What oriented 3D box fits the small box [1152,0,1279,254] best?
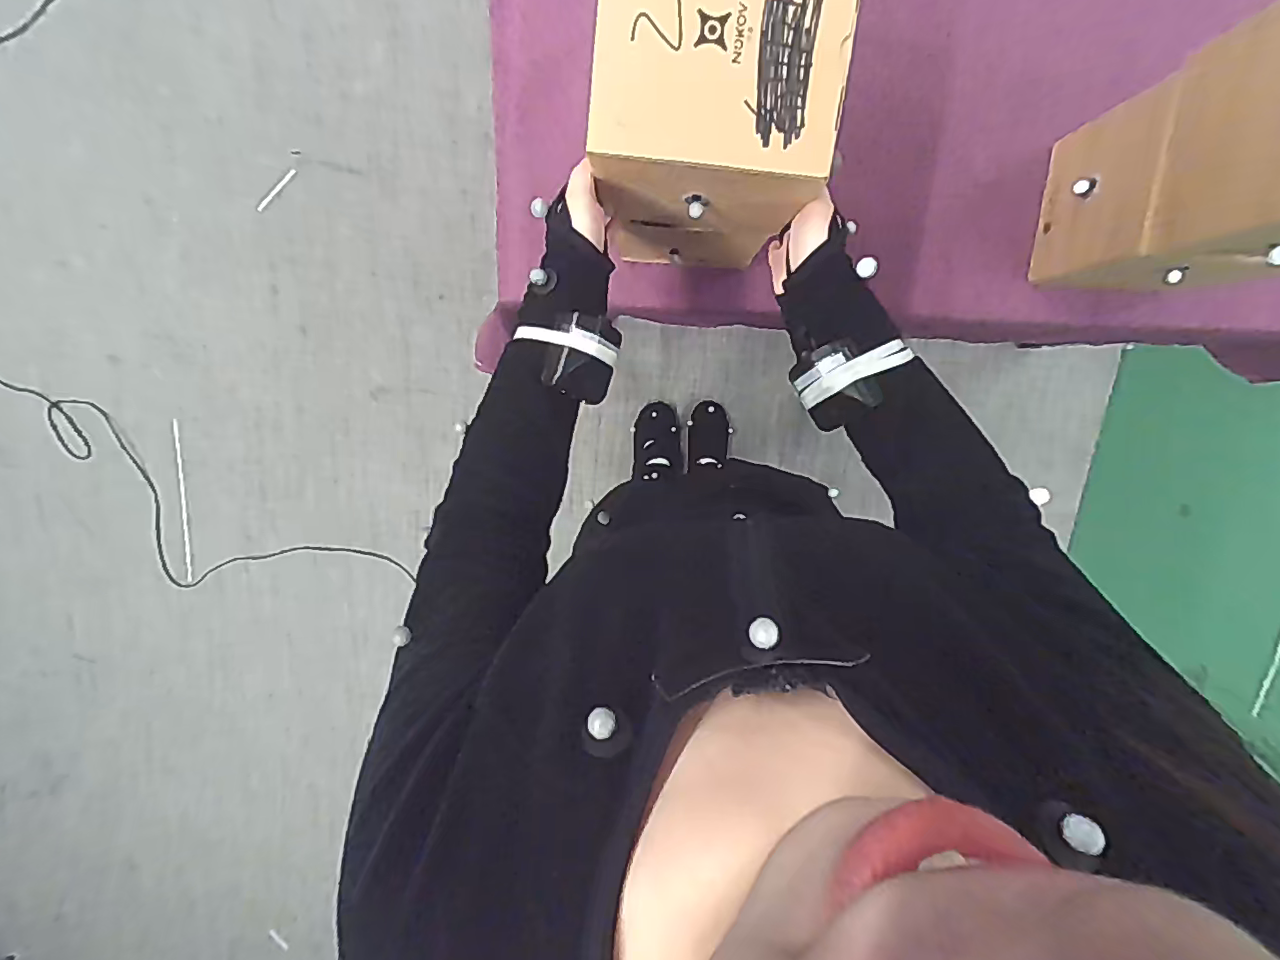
[{"bbox_3d":[0.569,-0.291,0.428,0.168,0.176,0.179,2,101,2],"label":"small box"}]

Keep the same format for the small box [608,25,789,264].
[{"bbox_3d":[0.056,-0.355,0.606,0.168,0.176,0.179,4,101,1],"label":"small box"}]

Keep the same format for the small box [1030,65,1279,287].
[{"bbox_3d":[0.576,-0.313,0.591,0.179,0.176,0.168,5,101,1],"label":"small box"}]
